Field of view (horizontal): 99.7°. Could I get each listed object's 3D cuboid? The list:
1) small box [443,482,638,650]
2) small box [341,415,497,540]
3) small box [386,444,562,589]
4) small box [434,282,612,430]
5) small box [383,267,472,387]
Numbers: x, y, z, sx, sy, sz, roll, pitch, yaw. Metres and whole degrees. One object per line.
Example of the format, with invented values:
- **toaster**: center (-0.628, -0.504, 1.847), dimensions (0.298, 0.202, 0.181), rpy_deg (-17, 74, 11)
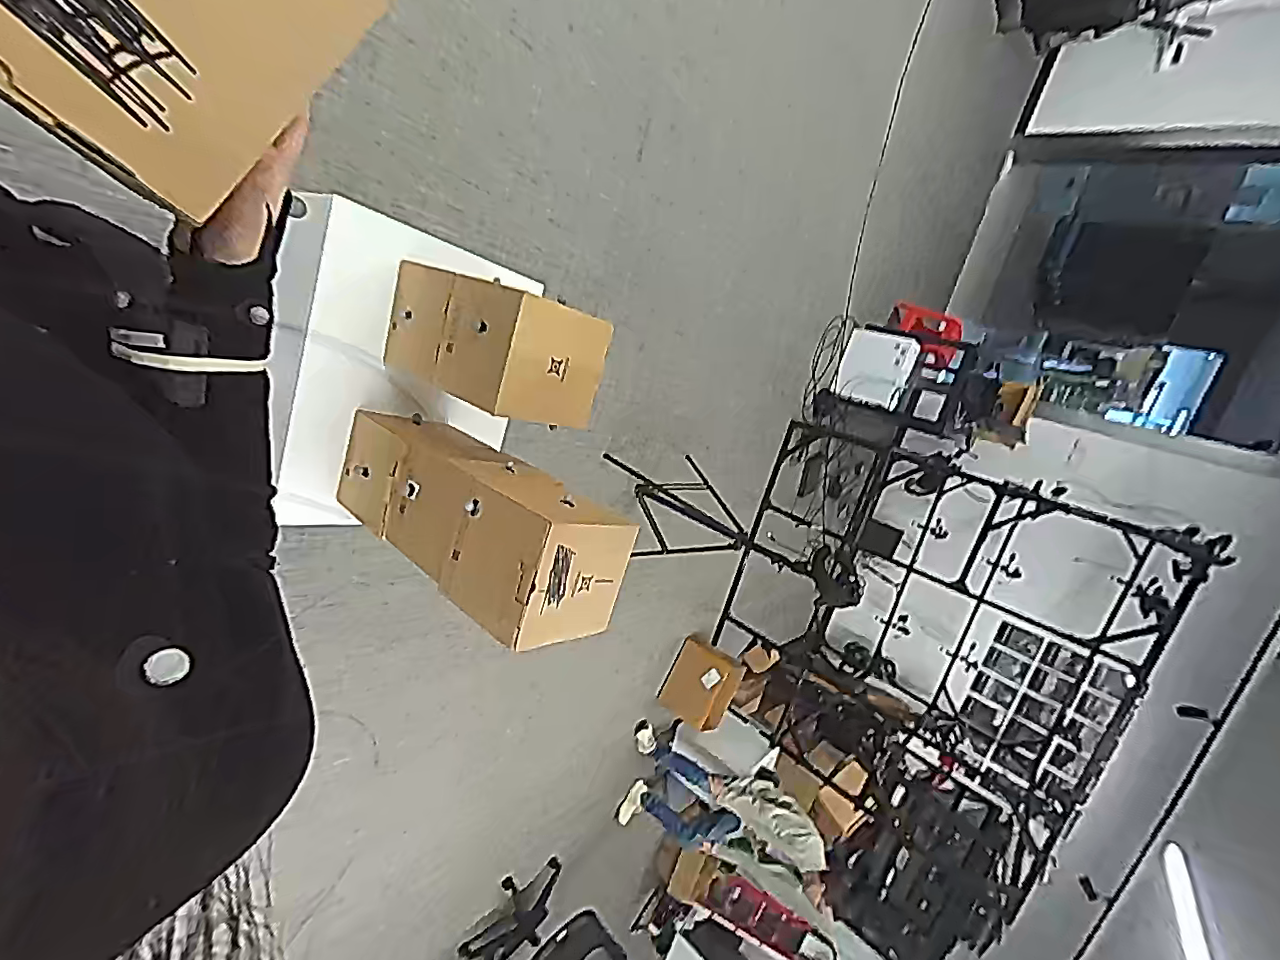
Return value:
- **small box**: center (-0.137, 0.107, 0.738), dimensions (0.179, 0.176, 0.168), rpy_deg (8, 102, -54)
- **small box**: center (-0.382, -0.005, 0.924), dimensions (0.179, 0.176, 0.168), rpy_deg (6, 105, -51)
- **small box**: center (-0.256, 0.051, 0.836), dimensions (0.179, 0.176, 0.168), rpy_deg (6, 104, -52)
- **small box**: center (-0.176, -0.183, 0.801), dimensions (0.179, 0.176, 0.168), rpy_deg (2, 109, -52)
- **small box**: center (-0.292, -0.242, 0.898), dimensions (0.179, 0.176, 0.168), rpy_deg (1, 109, -51)
